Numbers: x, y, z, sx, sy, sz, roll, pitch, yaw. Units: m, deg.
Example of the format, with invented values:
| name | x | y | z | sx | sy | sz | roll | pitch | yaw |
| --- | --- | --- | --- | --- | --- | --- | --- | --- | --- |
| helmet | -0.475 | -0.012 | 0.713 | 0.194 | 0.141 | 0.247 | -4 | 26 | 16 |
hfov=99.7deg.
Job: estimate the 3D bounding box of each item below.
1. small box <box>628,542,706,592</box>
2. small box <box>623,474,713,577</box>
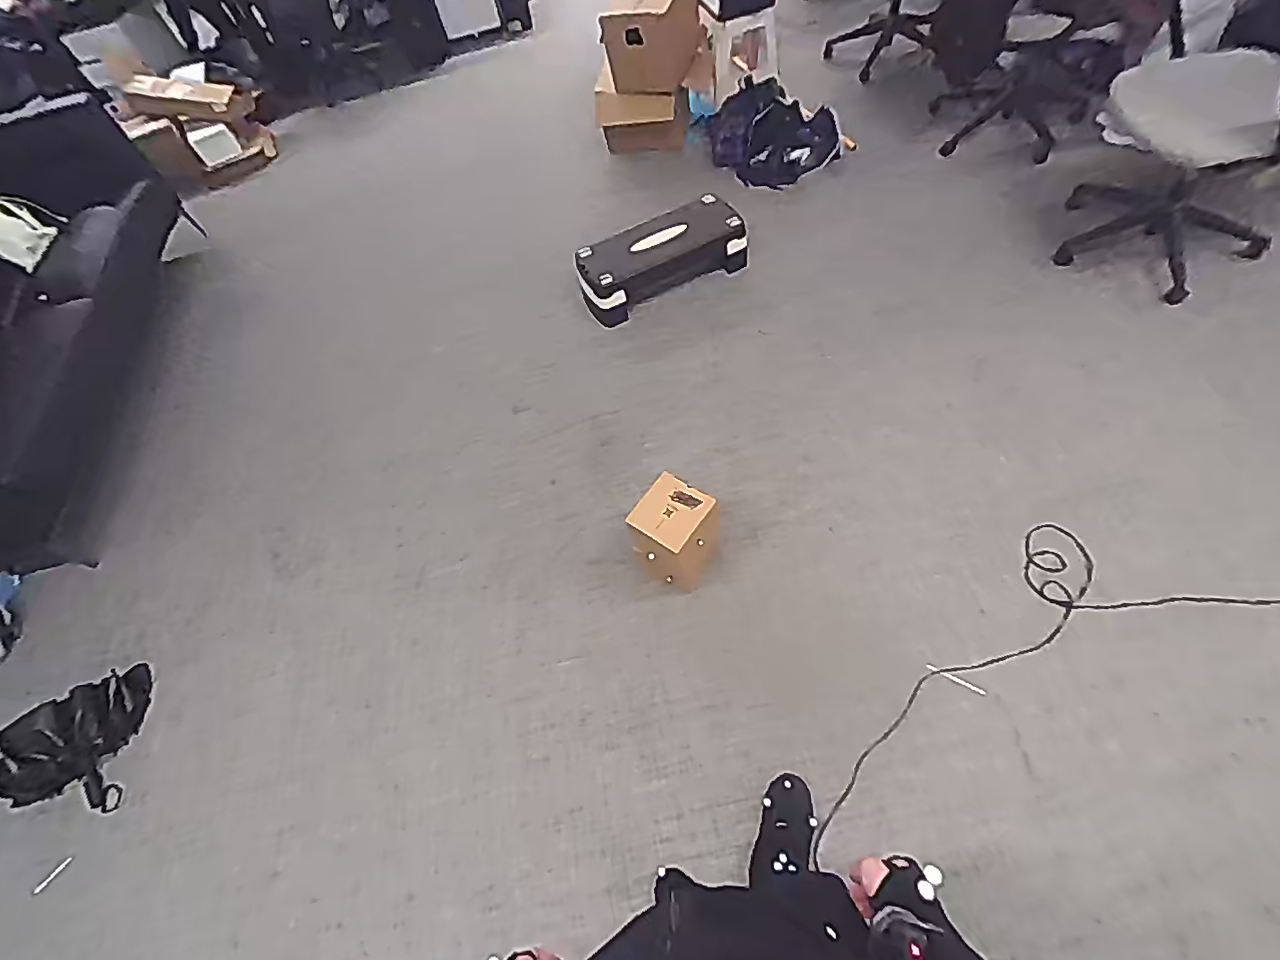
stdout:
| name | x | y | z | sx | sy | sz | roll | pitch | yaw |
| --- | --- | --- | --- | --- | --- | --- | --- | --- | --- |
| small box | 0.088 | 0.199 | 1.572 | 0.168 | 0.176 | 0.179 | 23 | 64 | 21 |
| small box | 0.079 | 0.123 | 1.425 | 0.168 | 0.176 | 0.179 | 31 | 69 | 24 |
